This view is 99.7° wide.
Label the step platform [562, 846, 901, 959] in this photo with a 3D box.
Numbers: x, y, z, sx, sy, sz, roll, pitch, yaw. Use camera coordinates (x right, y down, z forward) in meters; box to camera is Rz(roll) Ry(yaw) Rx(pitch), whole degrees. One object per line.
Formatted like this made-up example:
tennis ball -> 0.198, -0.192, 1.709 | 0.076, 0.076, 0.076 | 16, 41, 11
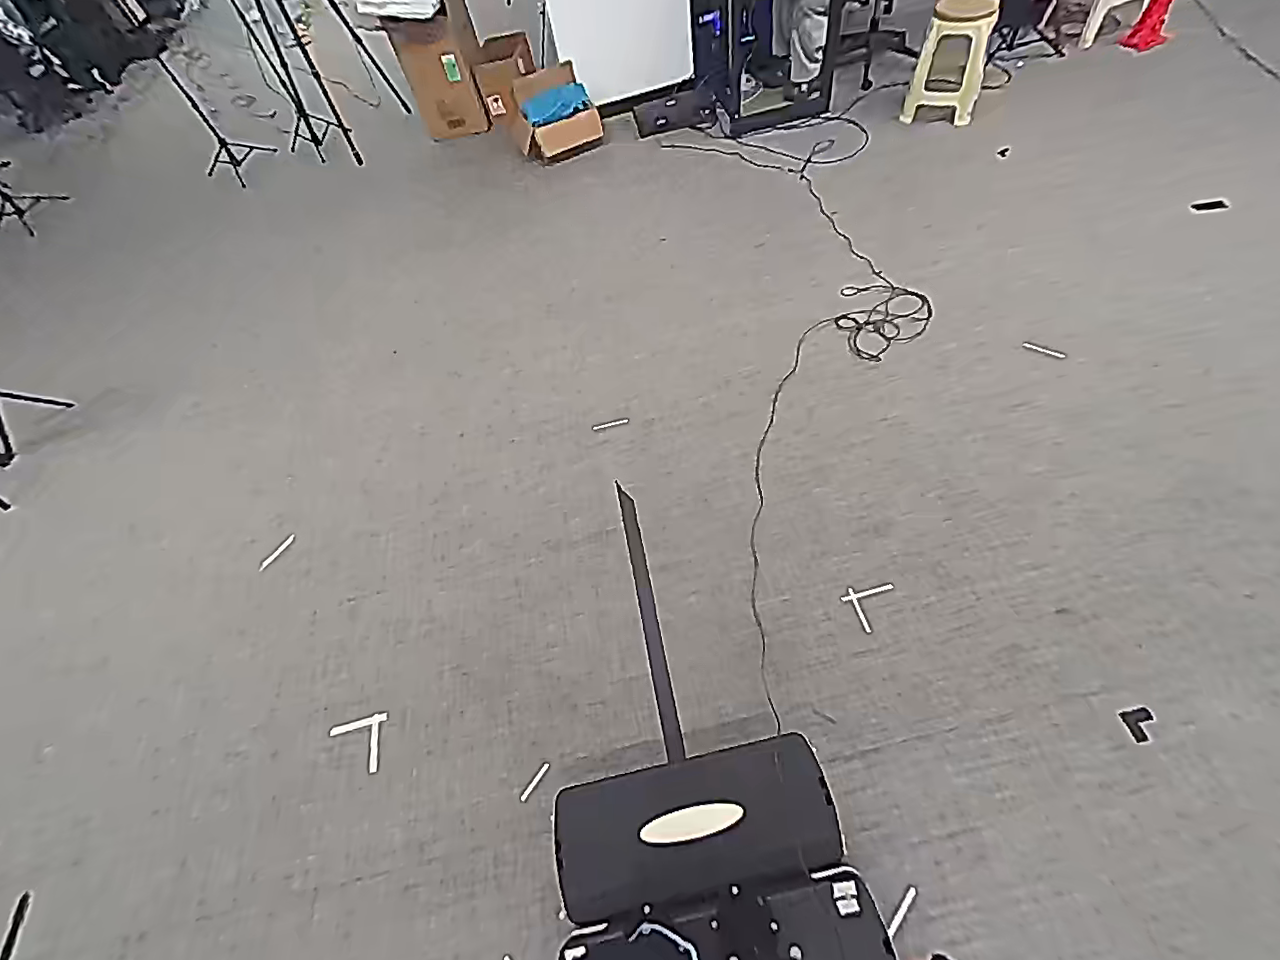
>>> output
step platform -> 0.183, 1.003, 1.125 | 0.684, 0.204, 0.286 | -15, 55, 2
